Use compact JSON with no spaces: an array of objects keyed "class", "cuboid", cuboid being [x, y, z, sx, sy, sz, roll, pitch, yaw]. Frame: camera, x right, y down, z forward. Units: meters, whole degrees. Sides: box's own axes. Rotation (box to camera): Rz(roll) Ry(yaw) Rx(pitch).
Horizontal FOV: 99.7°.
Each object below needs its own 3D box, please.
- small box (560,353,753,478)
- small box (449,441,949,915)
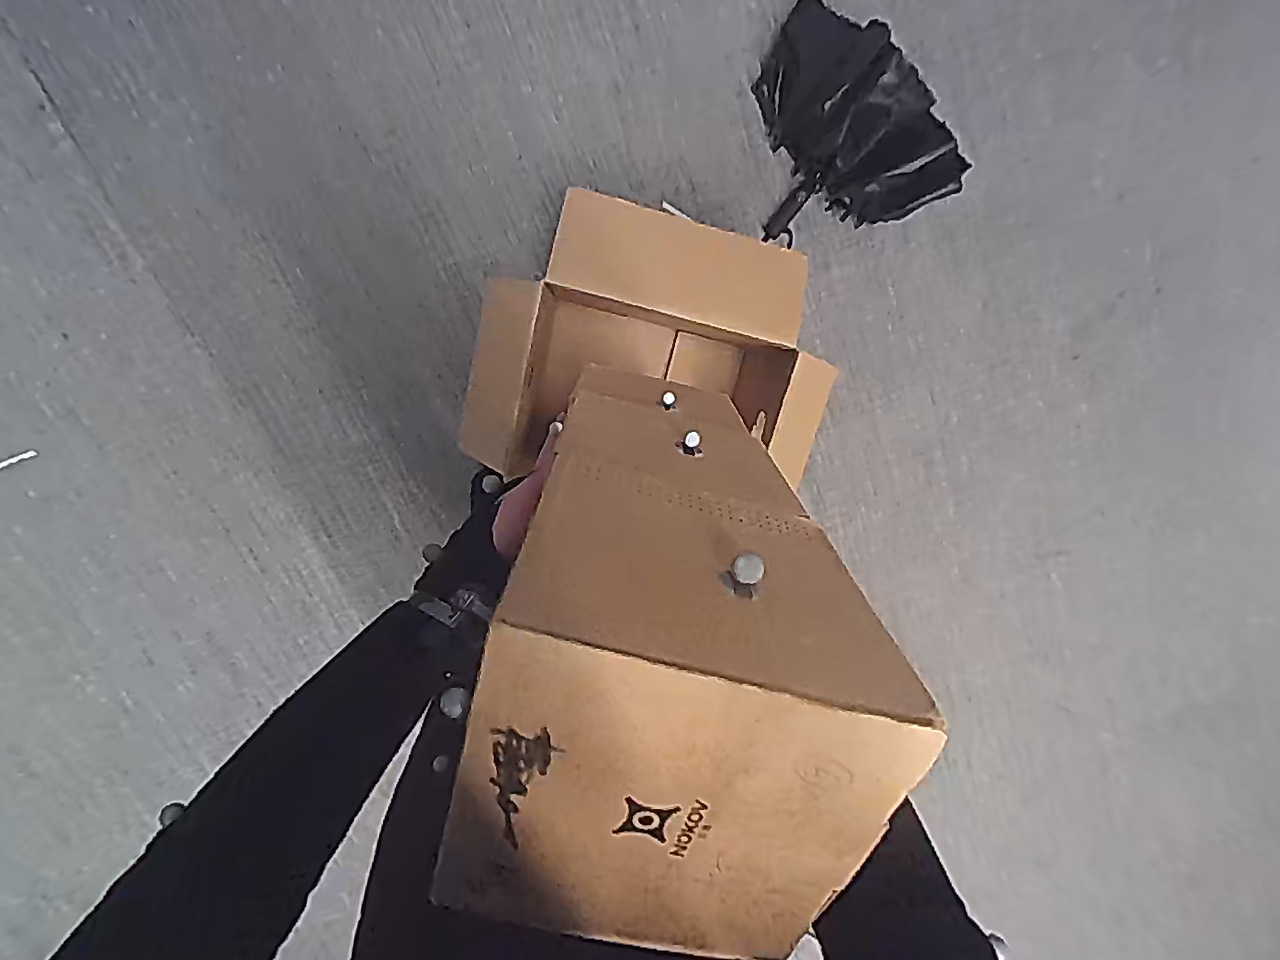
[{"class":"small box","cuboid":[0.006,-0.035,0.603,0.179,0.176,0.168,12,113,-4]},{"class":"small box","cuboid":[0.015,0.094,0.301,0.179,0.176,0.168,14,113,-7]}]
